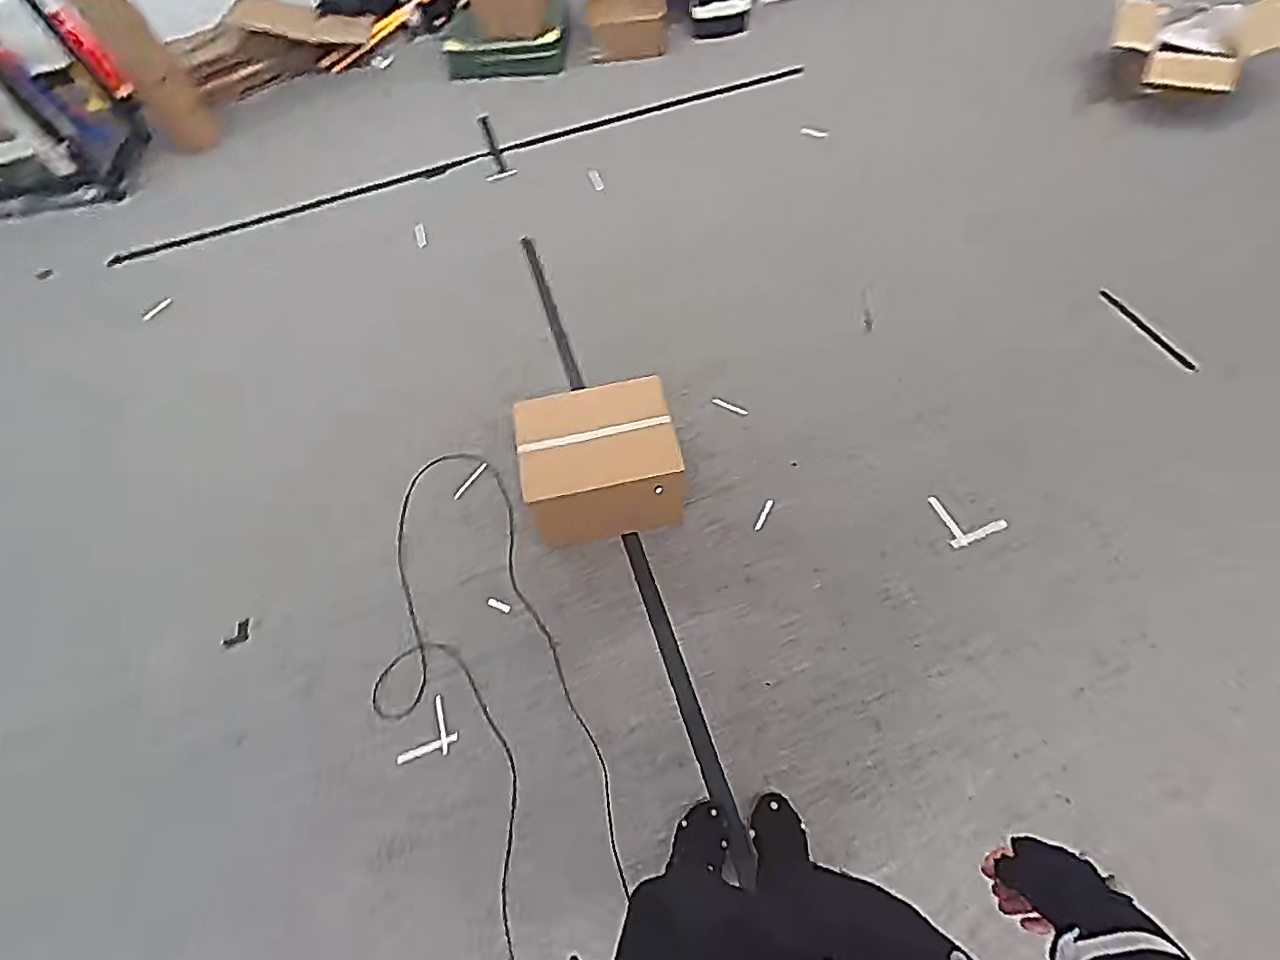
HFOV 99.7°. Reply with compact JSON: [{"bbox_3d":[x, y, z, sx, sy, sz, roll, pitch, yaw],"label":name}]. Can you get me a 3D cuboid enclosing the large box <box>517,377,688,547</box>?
[{"bbox_3d":[-0.097,-0.041,1.518,0.408,0.320,0.320,-12,61,-3],"label":"large box"}]
